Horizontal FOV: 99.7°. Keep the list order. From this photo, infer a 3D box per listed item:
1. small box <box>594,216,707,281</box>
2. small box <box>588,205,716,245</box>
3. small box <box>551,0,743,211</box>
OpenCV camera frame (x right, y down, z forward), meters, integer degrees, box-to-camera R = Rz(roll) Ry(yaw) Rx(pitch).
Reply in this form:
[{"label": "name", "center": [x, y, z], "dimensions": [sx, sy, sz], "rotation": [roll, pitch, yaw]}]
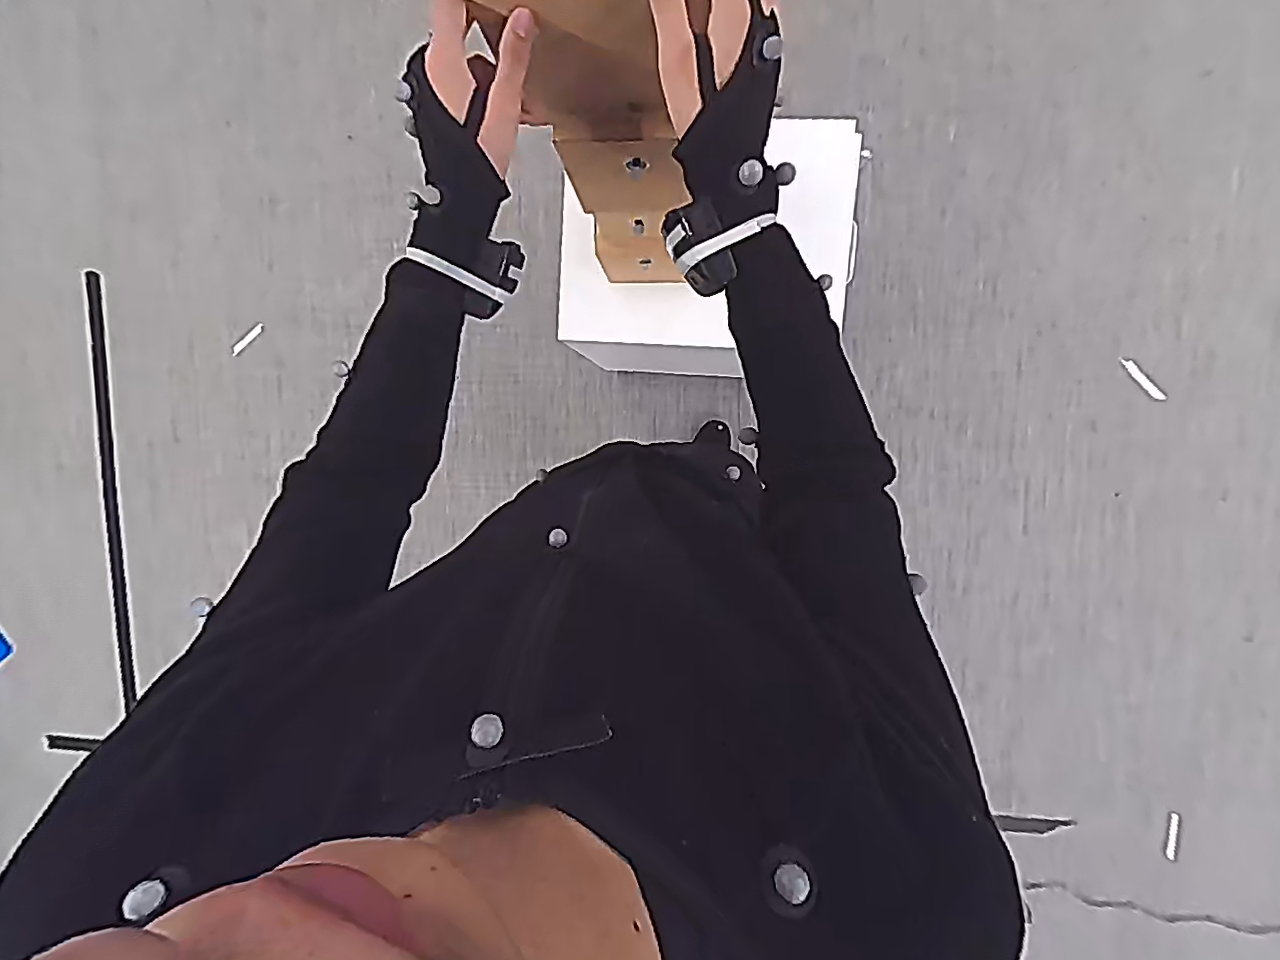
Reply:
[{"label": "small box", "center": [0.025, -0.436, 0.899], "dimensions": [0.179, 0.176, 0.168], "rotation": [1, 96, 4]}, {"label": "small box", "center": [0.024, -0.435, 0.736], "dimensions": [0.168, 0.176, 0.179], "rotation": [2, 94, 4]}, {"label": "small box", "center": [0.012, -0.402, 0.574], "dimensions": [0.179, 0.176, 0.168], "rotation": [2, 95, 4]}]
